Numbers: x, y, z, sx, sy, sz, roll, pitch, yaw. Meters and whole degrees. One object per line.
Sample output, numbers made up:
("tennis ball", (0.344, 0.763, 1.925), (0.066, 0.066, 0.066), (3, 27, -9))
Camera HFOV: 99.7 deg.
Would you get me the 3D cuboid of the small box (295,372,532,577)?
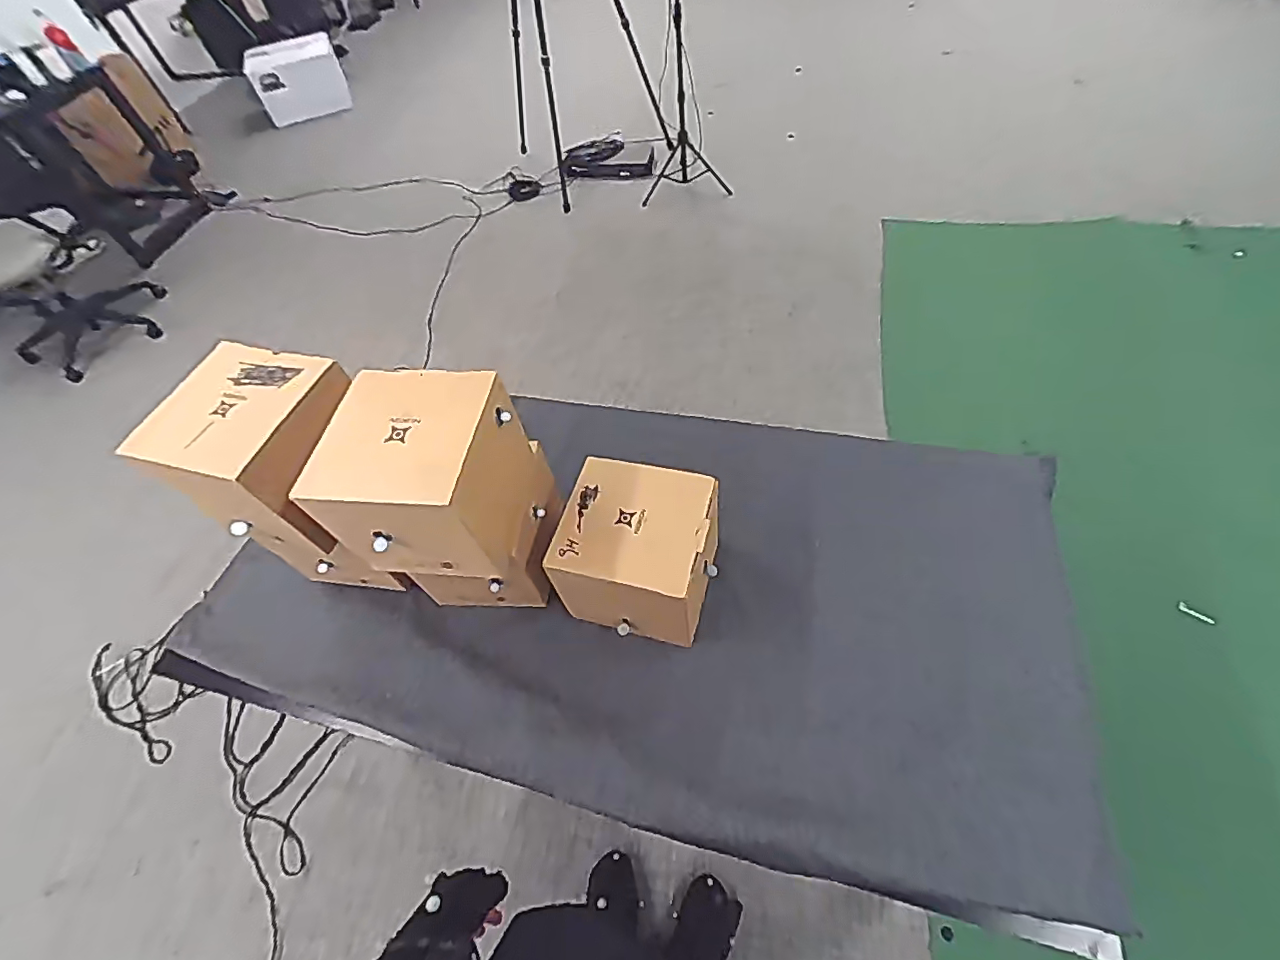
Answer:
("small box", (-0.234, -0.002, 0.616), (0.168, 0.176, 0.179), (2, 55, 7))
